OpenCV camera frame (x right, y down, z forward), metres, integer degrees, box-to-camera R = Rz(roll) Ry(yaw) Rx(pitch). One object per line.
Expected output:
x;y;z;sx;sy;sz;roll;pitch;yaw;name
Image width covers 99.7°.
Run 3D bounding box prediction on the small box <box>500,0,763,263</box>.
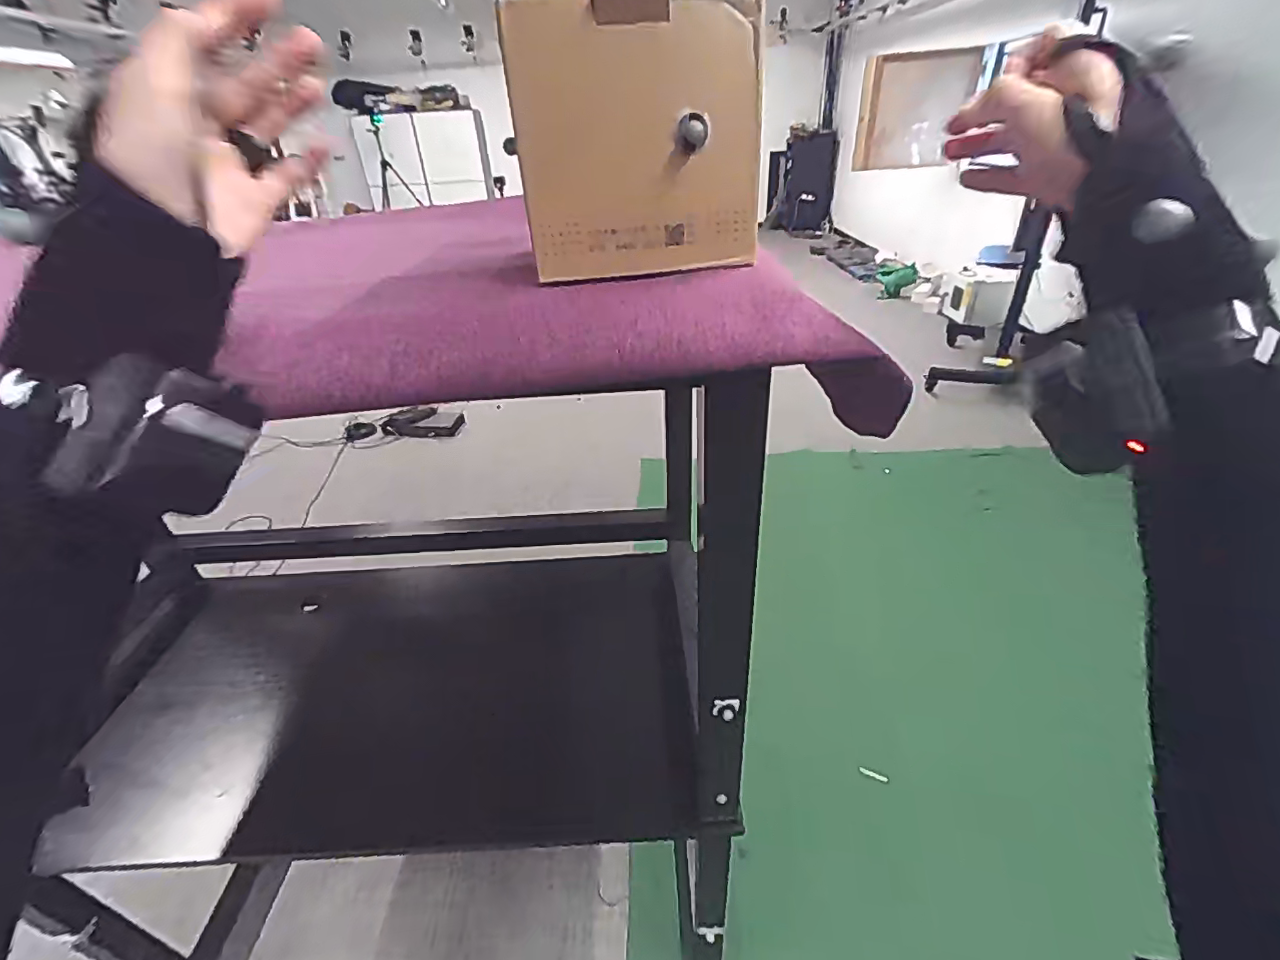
-0.001;-0.274;0.432;0.168;0.176;0.179;-4;31;-1;small box
